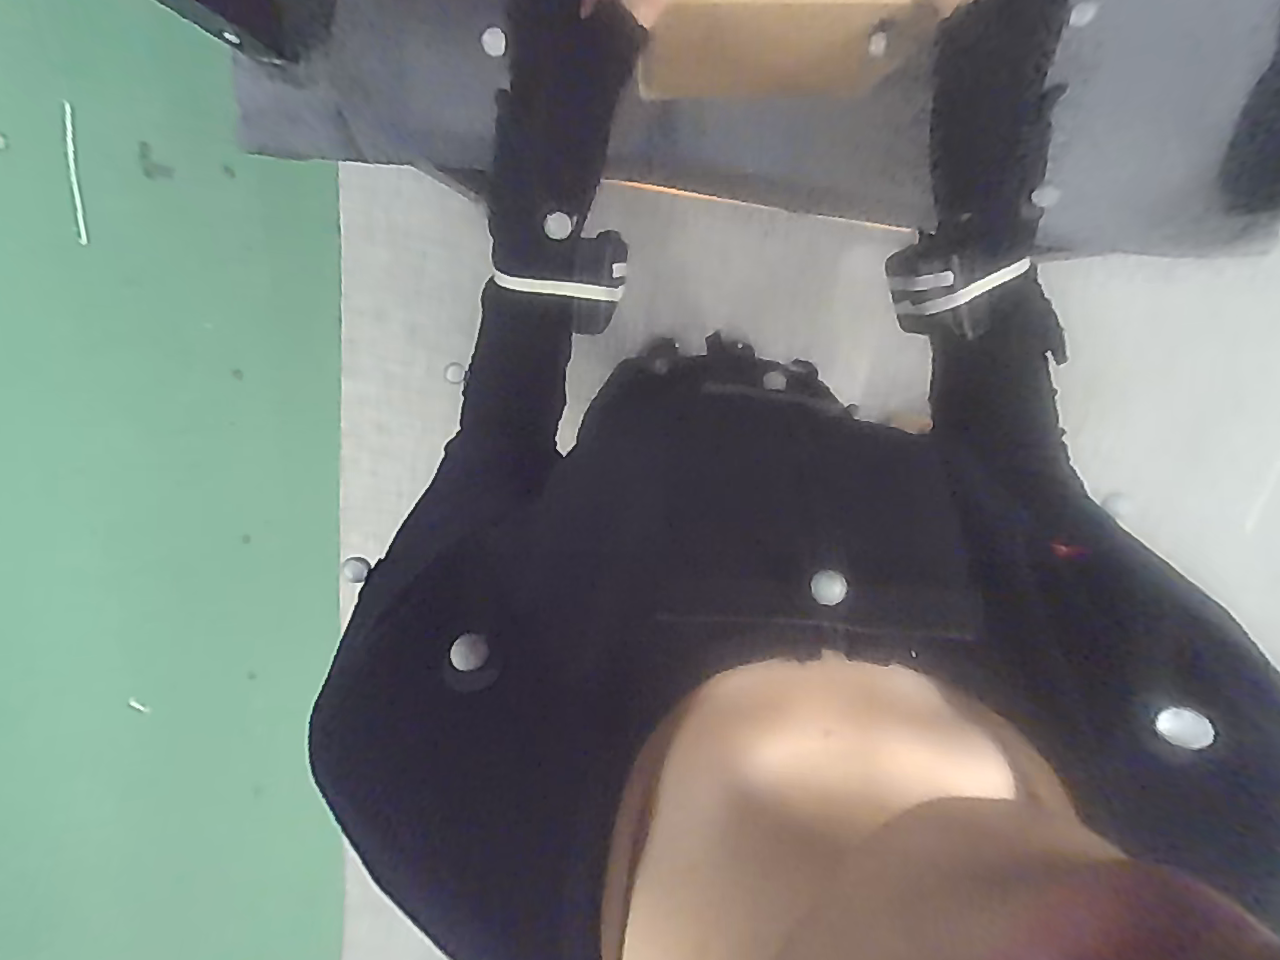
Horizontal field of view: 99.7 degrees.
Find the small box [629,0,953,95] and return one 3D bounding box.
[{"bbox_3d":[0.080,-0.345,0.316,0.179,0.176,0.168,-1,112,0],"label":"small box"}]
